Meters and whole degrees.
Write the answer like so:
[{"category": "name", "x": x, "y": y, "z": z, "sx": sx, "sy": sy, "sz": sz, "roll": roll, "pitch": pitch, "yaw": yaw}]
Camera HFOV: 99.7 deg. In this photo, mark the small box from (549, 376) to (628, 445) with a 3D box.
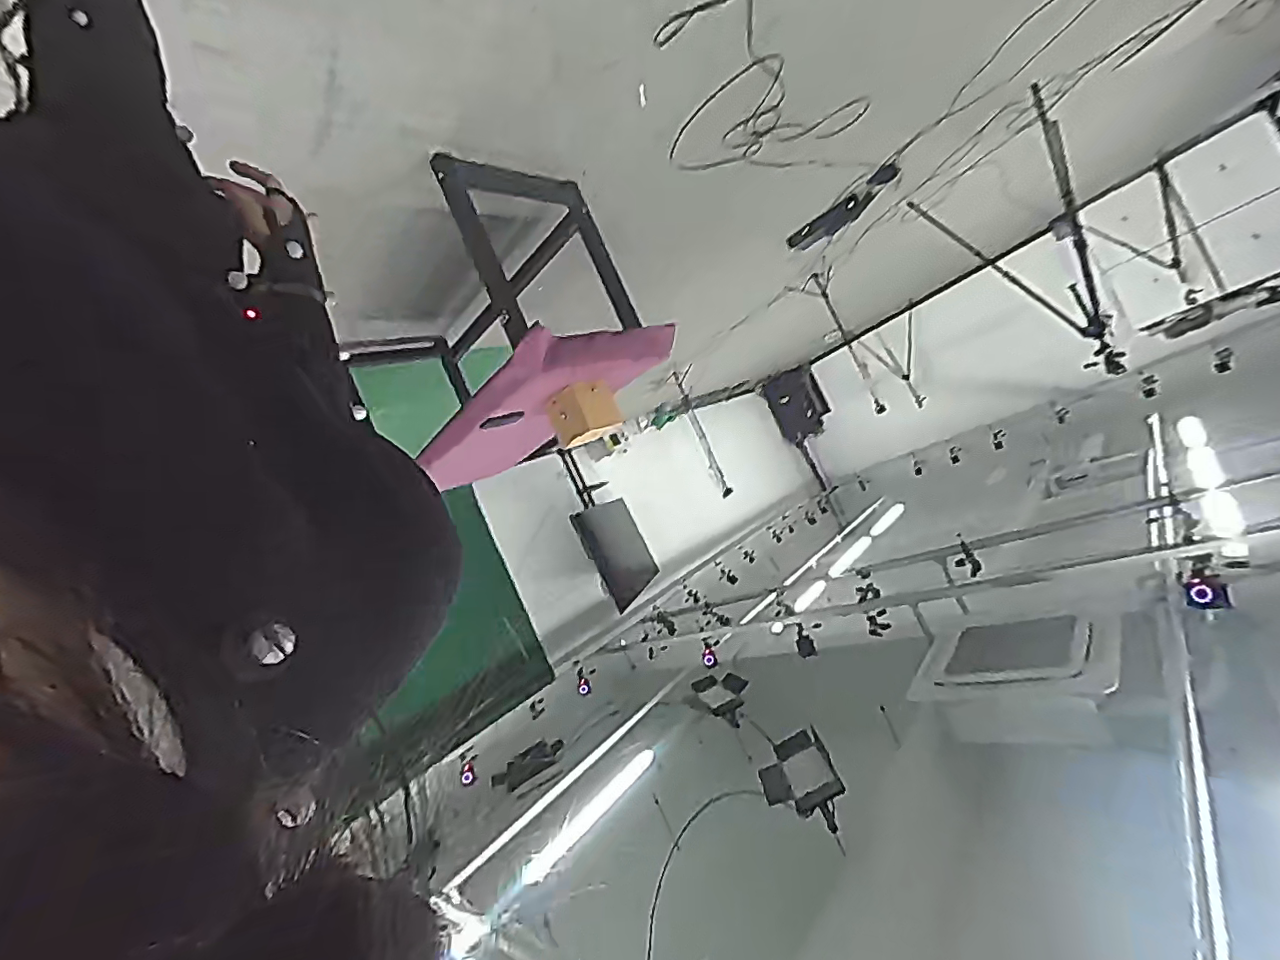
[{"category": "small box", "x": -0.179, "y": -0.238, "z": 1.836, "sx": 0.168, "sy": 0.176, "sz": 0.179, "roll": -26, "pitch": 176, "yaw": 41}]
